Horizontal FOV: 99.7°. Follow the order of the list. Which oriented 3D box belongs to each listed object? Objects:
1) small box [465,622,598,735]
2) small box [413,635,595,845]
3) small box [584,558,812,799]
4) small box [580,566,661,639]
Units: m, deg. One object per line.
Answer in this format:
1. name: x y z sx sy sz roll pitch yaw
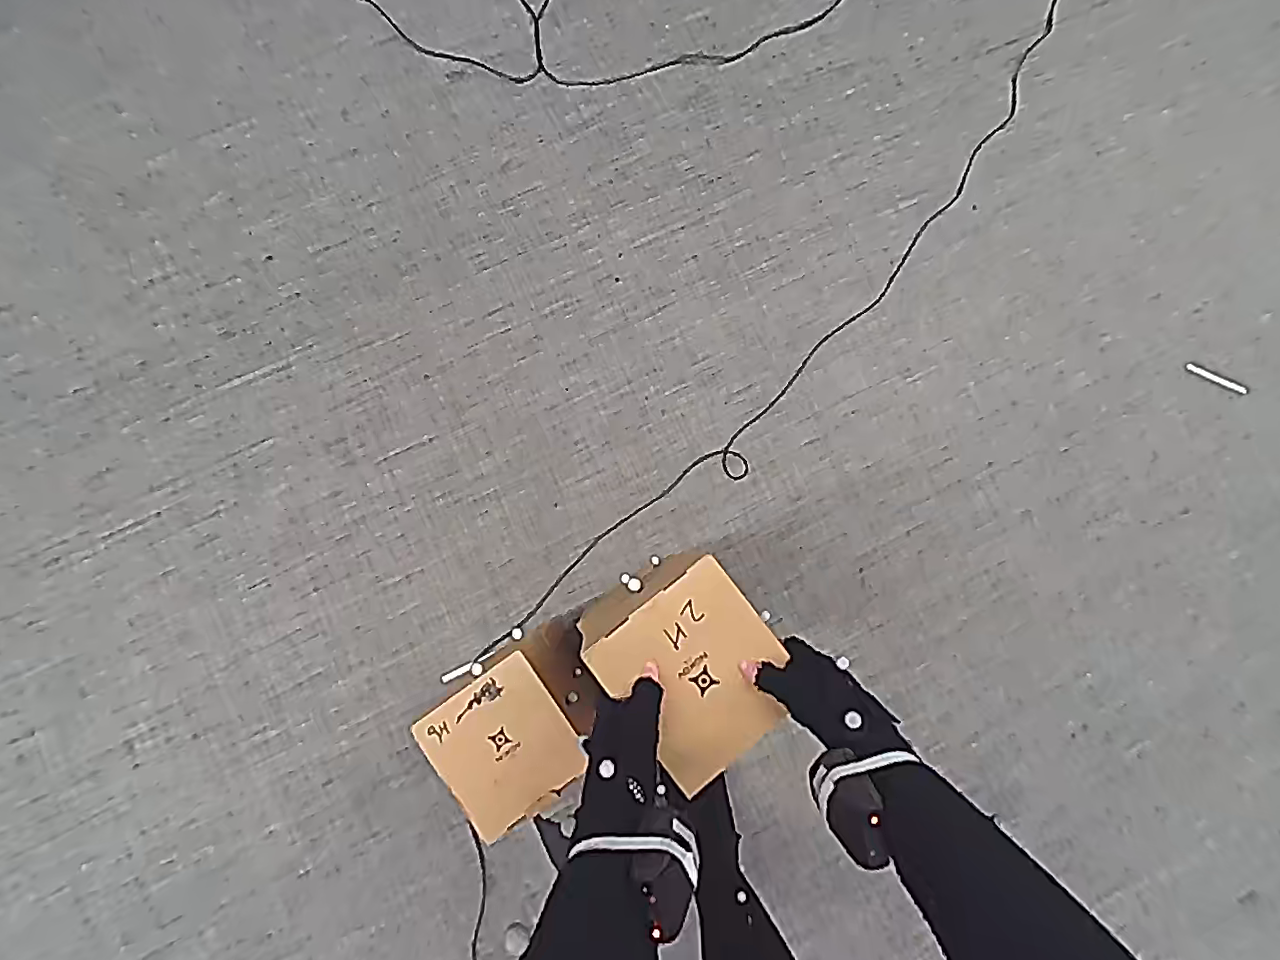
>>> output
1. small box: -0.180 0.364 0.916 0.168 0.176 0.179 -31 86 -6
2. small box: -0.173 0.342 0.753 0.168 0.176 0.179 -34 87 -7
3. small box: 0.055 0.203 0.614 0.168 0.176 0.179 -37 87 -7
4. small box: 0.012 0.264 0.936 0.168 0.176 0.179 -35 87 -6
